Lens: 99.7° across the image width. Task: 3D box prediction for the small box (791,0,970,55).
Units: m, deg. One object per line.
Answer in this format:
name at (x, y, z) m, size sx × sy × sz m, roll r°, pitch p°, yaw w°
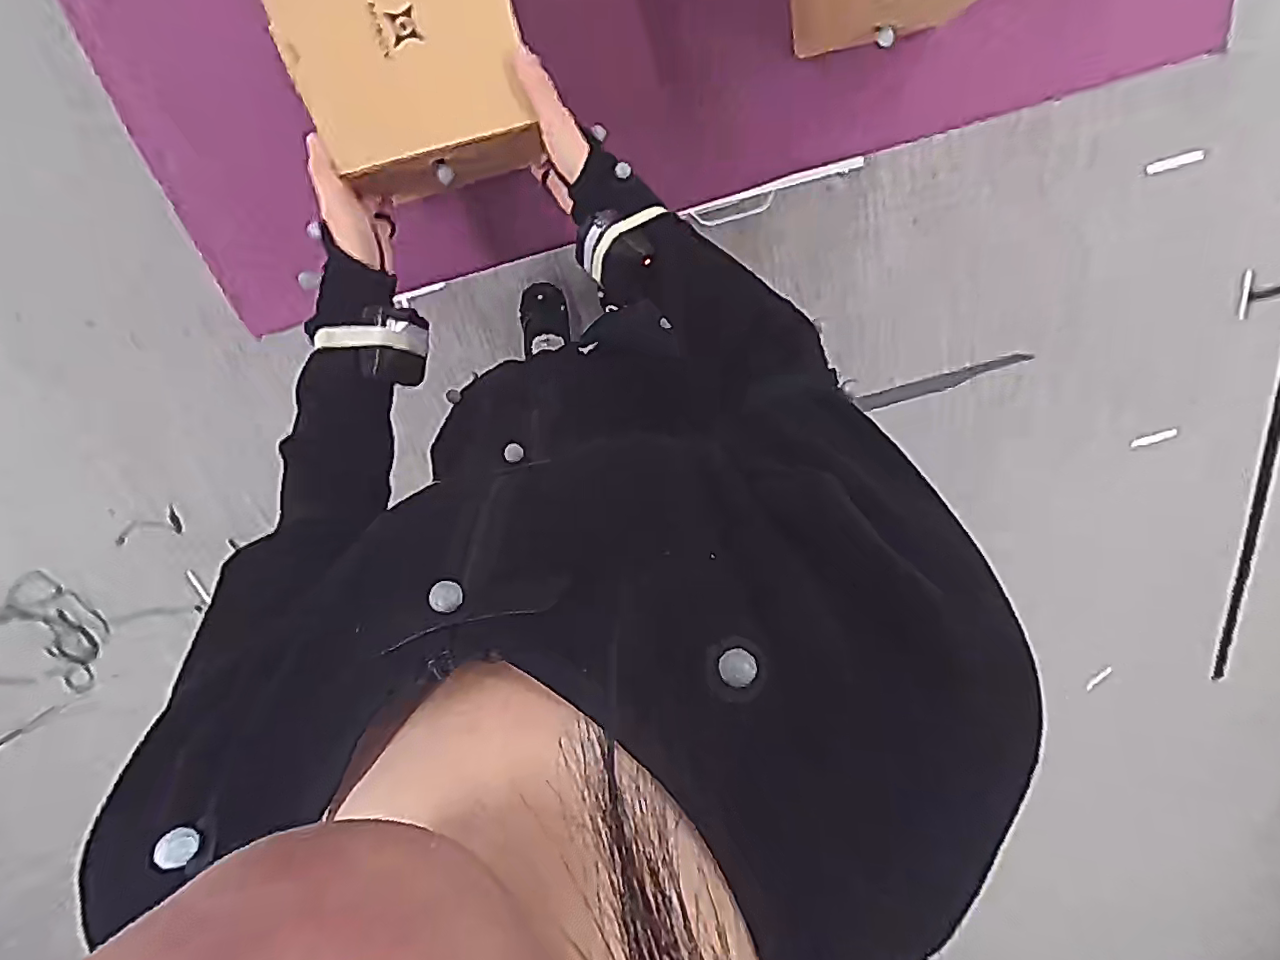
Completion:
small box at (0.239, -0.532, 0.489) m, size 0.168 × 0.176 × 0.179 m, roll -14°, pitch 113°, yaw -1°
